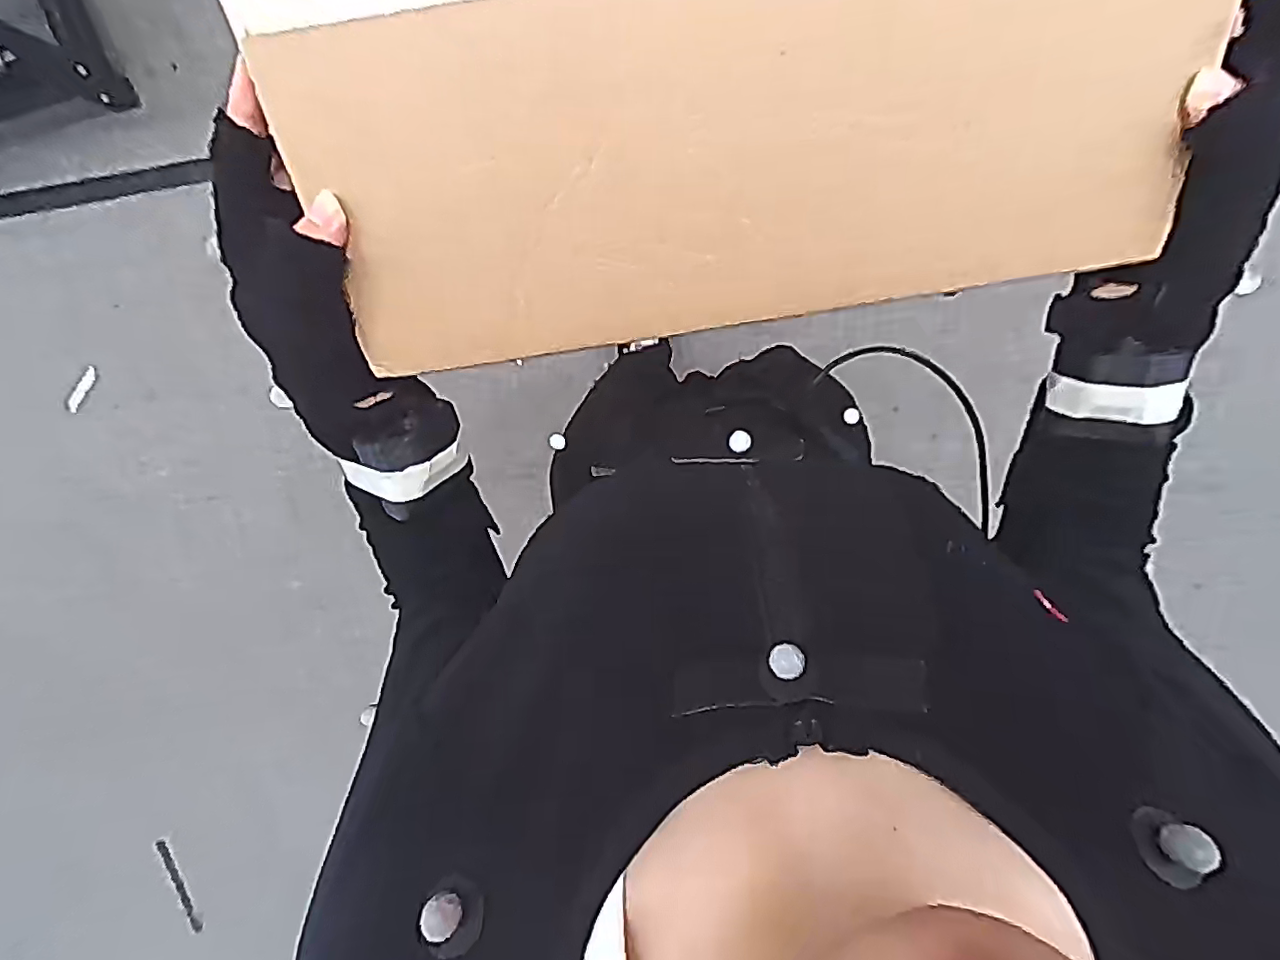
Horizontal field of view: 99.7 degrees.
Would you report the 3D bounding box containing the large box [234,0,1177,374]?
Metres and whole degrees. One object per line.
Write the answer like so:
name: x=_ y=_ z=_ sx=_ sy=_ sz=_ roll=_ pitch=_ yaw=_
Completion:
large box: x=0.026 y=-0.292 z=0.347 sx=0.408 sy=0.320 sz=0.320 roll=-8 pitch=118 yaw=2
